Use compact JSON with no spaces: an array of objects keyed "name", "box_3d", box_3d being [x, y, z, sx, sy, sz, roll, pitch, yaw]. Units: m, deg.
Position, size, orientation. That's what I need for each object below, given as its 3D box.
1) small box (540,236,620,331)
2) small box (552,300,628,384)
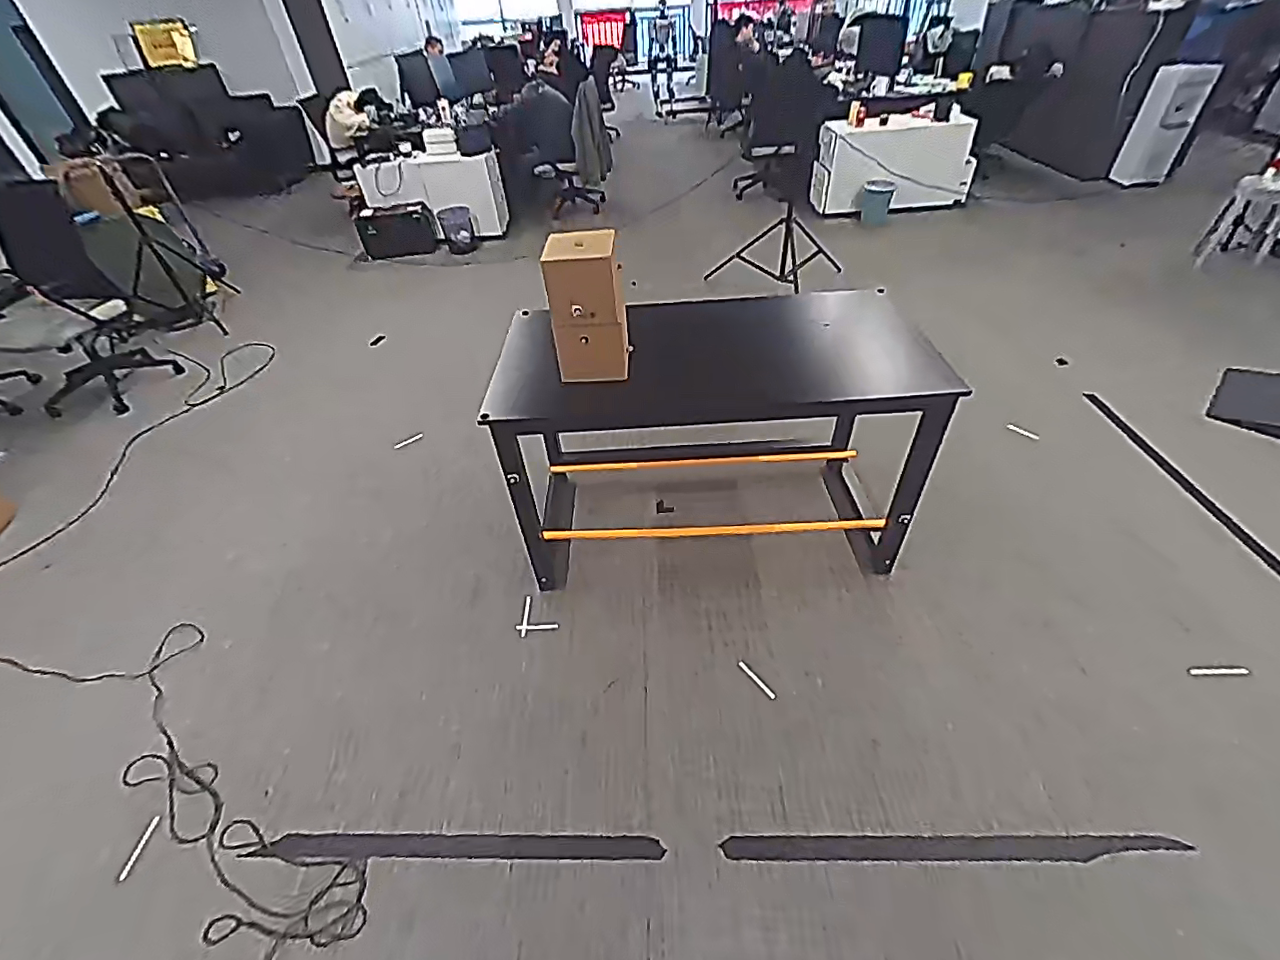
[{"name":"small box","box_3d":[-0.141,-0.488,1.344,0.168,0.176,0.179,-4,43,3]},{"name":"small box","box_3d":[-0.129,-0.369,1.454,0.179,0.176,0.168,-1,42,3]}]
